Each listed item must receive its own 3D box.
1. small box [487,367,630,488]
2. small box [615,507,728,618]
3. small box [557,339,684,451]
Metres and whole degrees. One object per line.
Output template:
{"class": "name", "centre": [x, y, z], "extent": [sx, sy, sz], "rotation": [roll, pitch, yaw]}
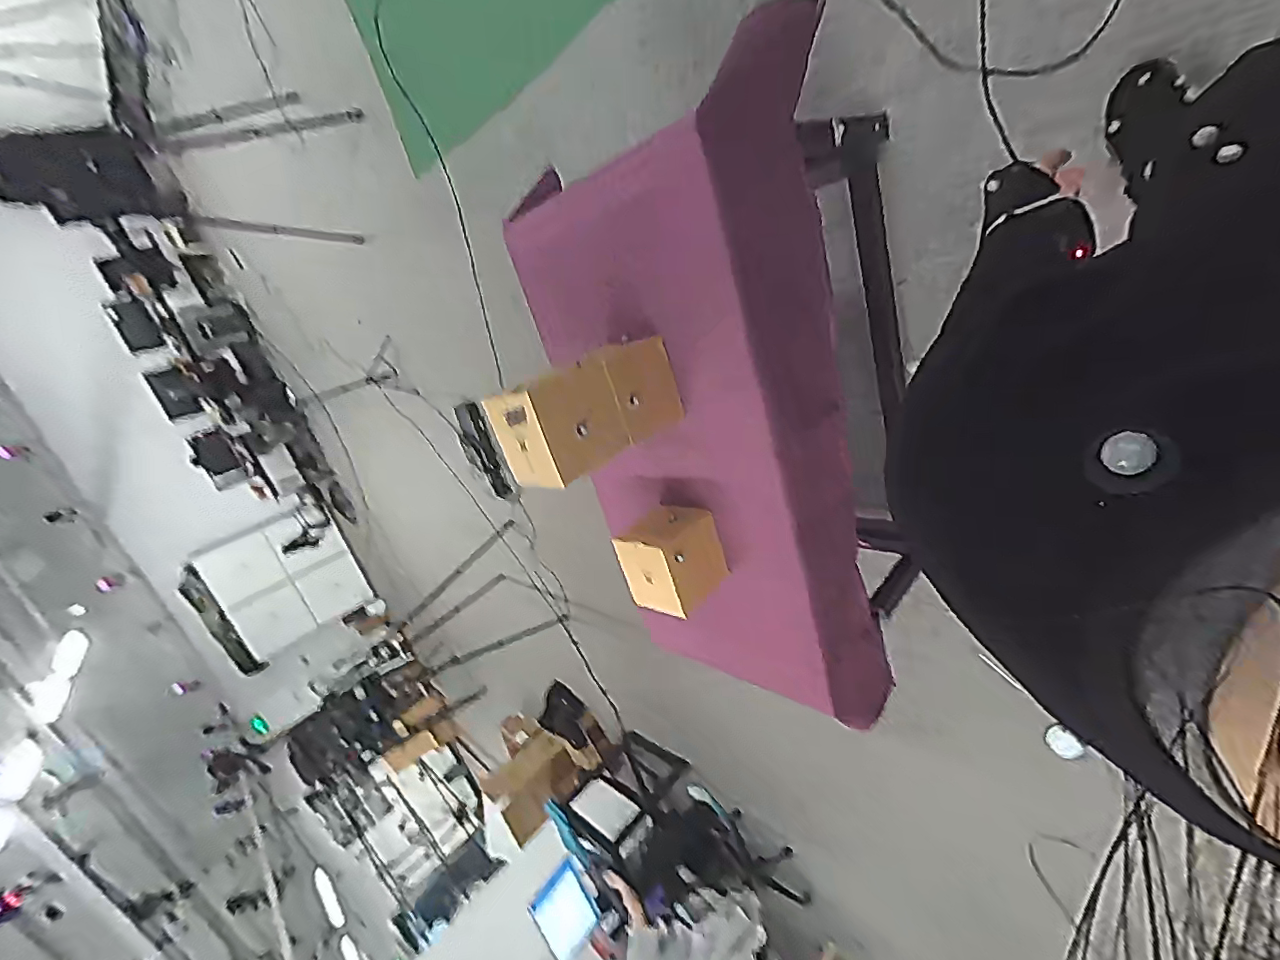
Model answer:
{"class": "small box", "centre": [-0.147, -0.102, 1.004], "extent": [0.168, 0.176, 0.179], "rotation": [3, 118, 48]}
{"class": "small box", "centre": [0.077, 0.181, 1.230], "extent": [0.168, 0.176, 0.179], "rotation": [2, 116, 49]}
{"class": "small box", "centre": [-0.033, -0.172, 1.100], "extent": [0.168, 0.176, 0.179], "rotation": [4, 118, 47]}
